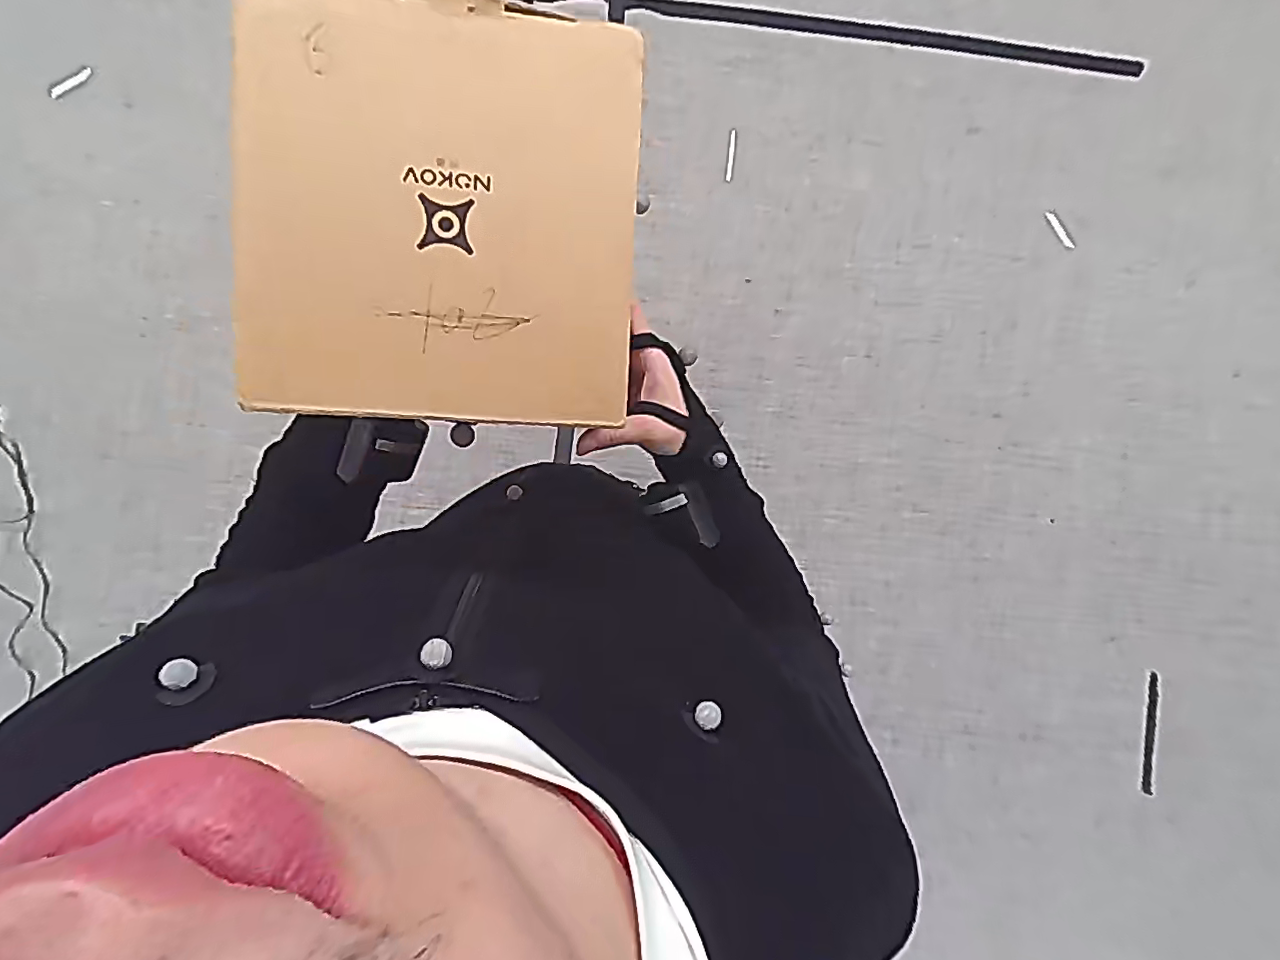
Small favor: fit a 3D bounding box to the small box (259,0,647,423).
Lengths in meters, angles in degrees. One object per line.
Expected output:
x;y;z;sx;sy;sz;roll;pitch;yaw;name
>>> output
-0.094;-0.127;0.323;0.168;0.176;0.179;2;97;-9;small box
